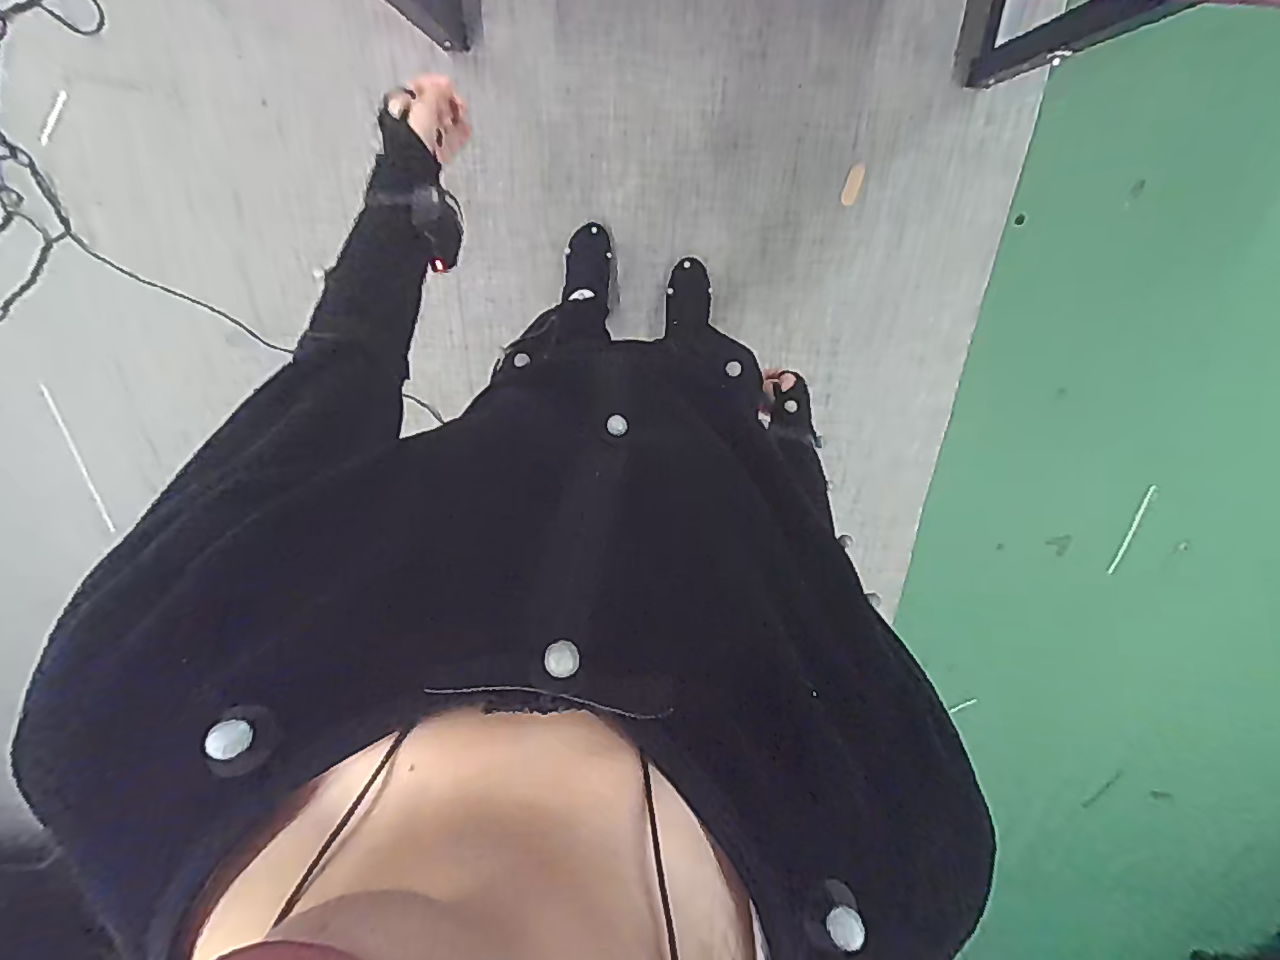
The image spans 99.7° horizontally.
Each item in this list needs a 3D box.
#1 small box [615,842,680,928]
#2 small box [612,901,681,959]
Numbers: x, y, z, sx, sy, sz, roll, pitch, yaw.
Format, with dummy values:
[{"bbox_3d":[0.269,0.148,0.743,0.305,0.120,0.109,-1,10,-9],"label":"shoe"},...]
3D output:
[{"bbox_3d":[0.021,1.238,1.651,0.168,0.176,0.179,-12,115,6],"label":"small box"},{"bbox_3d":[0.019,1.305,1.502,0.168,0.176,0.179,-12,115,7],"label":"small box"}]
